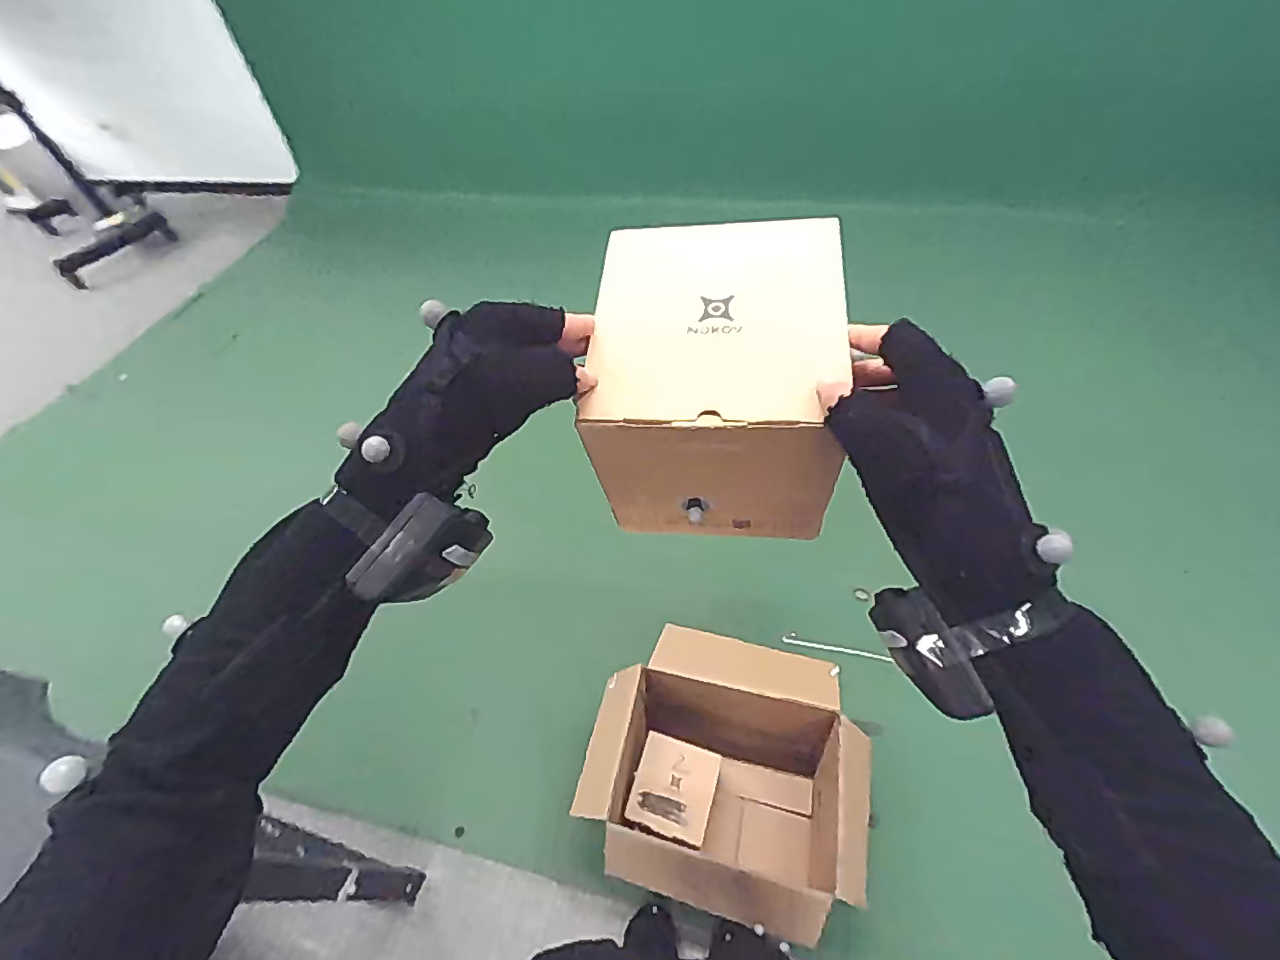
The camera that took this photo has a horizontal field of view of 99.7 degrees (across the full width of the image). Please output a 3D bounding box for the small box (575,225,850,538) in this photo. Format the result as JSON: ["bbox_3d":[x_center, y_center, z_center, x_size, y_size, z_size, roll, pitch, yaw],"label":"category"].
[{"bbox_3d":[0.058,-0.069,0.426,0.168,0.176,0.179,1,63,10],"label":"small box"}]
